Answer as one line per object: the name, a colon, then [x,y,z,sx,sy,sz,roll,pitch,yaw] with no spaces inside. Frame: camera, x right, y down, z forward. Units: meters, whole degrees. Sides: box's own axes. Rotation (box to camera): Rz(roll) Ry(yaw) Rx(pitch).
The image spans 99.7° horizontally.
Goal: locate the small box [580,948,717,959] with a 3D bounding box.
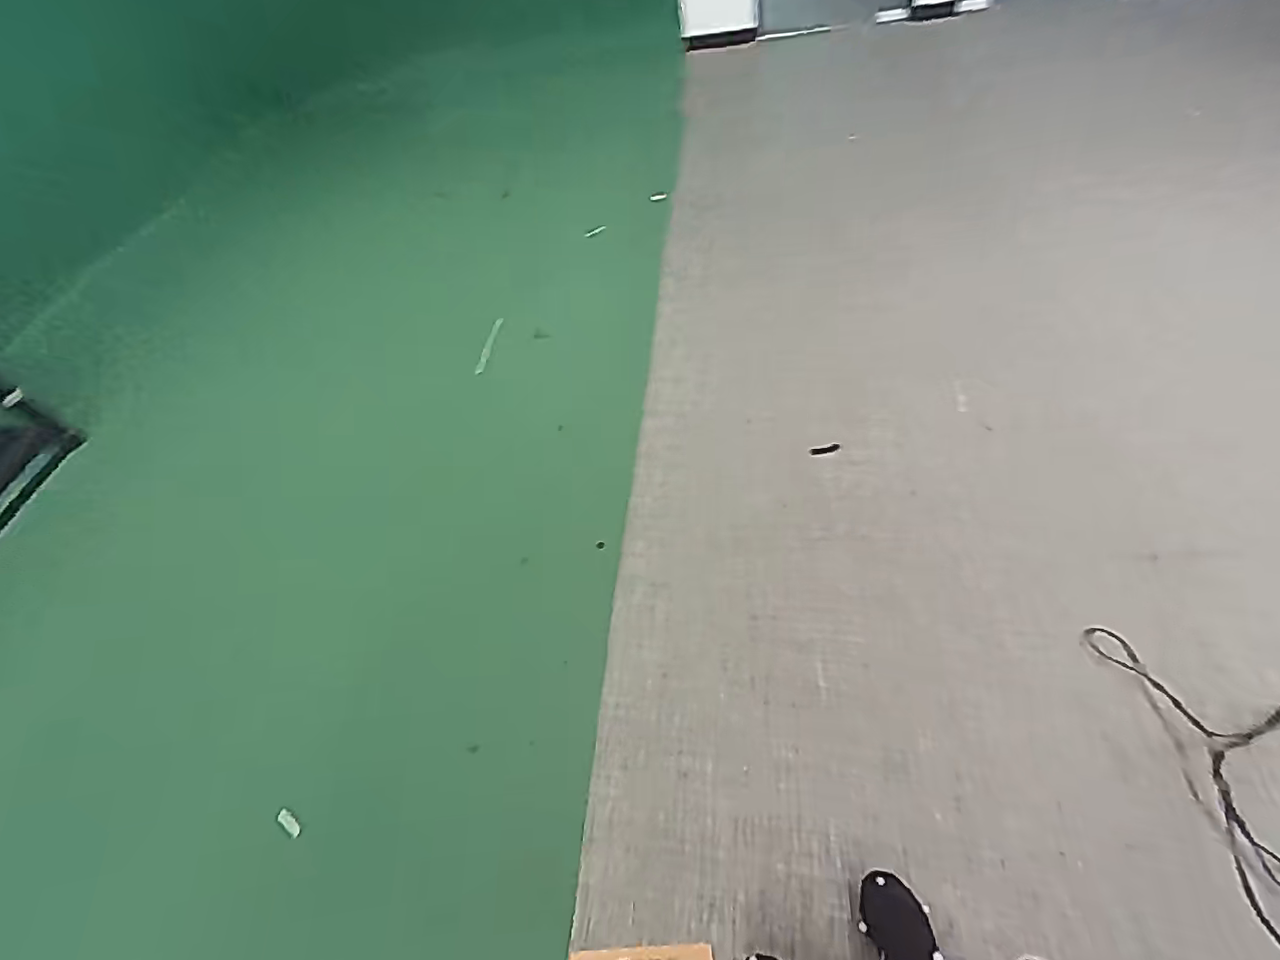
small box: [0.014,0.648,0.588,0.168,0.179,0.176,-3,25,0]
